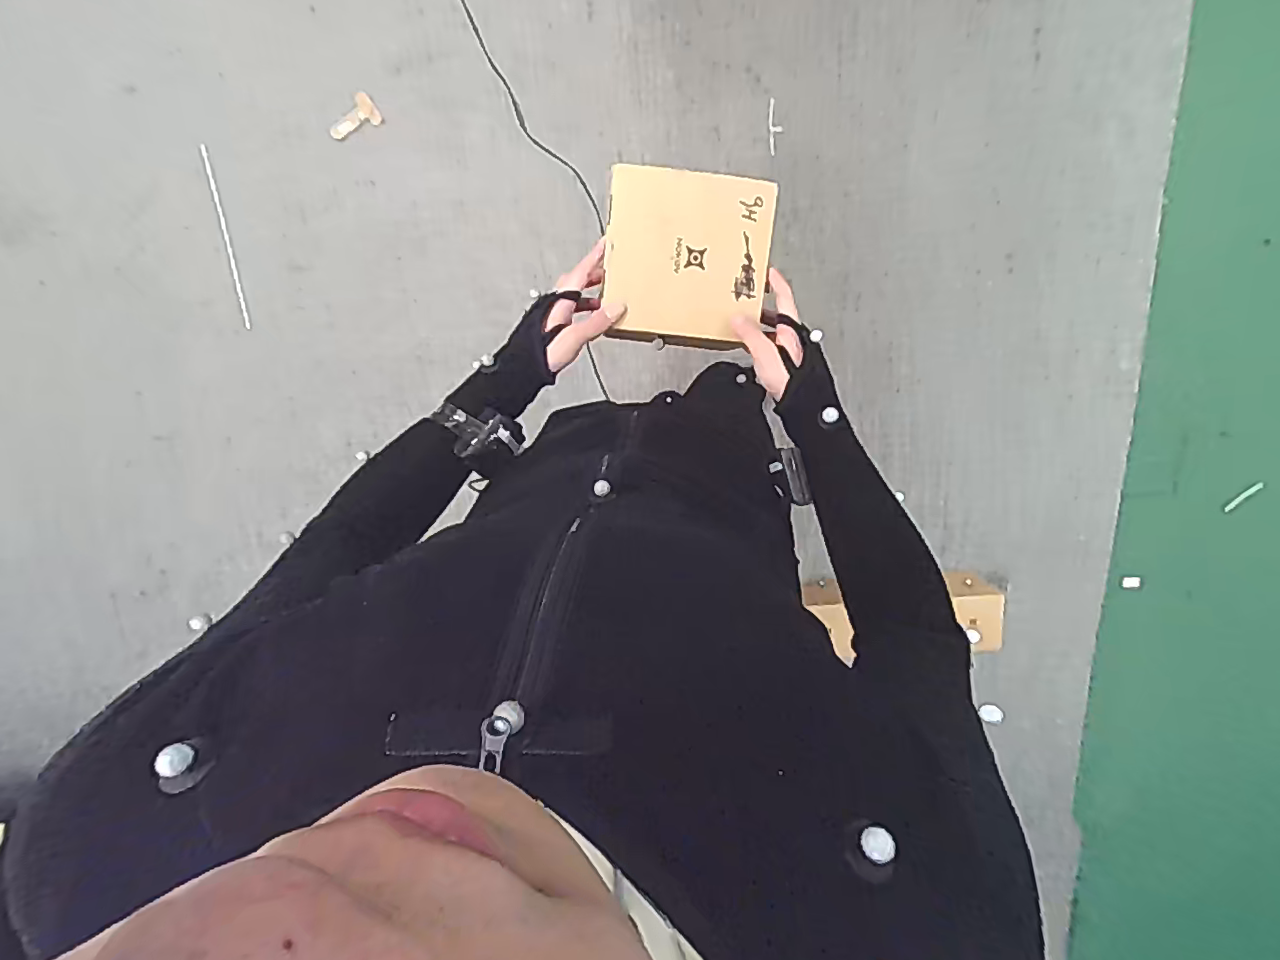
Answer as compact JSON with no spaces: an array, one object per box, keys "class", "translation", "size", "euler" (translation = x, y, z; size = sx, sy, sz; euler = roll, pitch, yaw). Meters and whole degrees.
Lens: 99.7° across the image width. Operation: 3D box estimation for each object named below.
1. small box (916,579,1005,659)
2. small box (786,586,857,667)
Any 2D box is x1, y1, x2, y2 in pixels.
[{"class":"small box","translation":[0.937,0.402,1.594],"size":[0.168,0.176,0.179],"euler":[-5,105,3]},{"class":"small box","translation":[0.539,0.435,1.620],"size":[0.168,0.176,0.179],"euler":[-4,104,3]}]
